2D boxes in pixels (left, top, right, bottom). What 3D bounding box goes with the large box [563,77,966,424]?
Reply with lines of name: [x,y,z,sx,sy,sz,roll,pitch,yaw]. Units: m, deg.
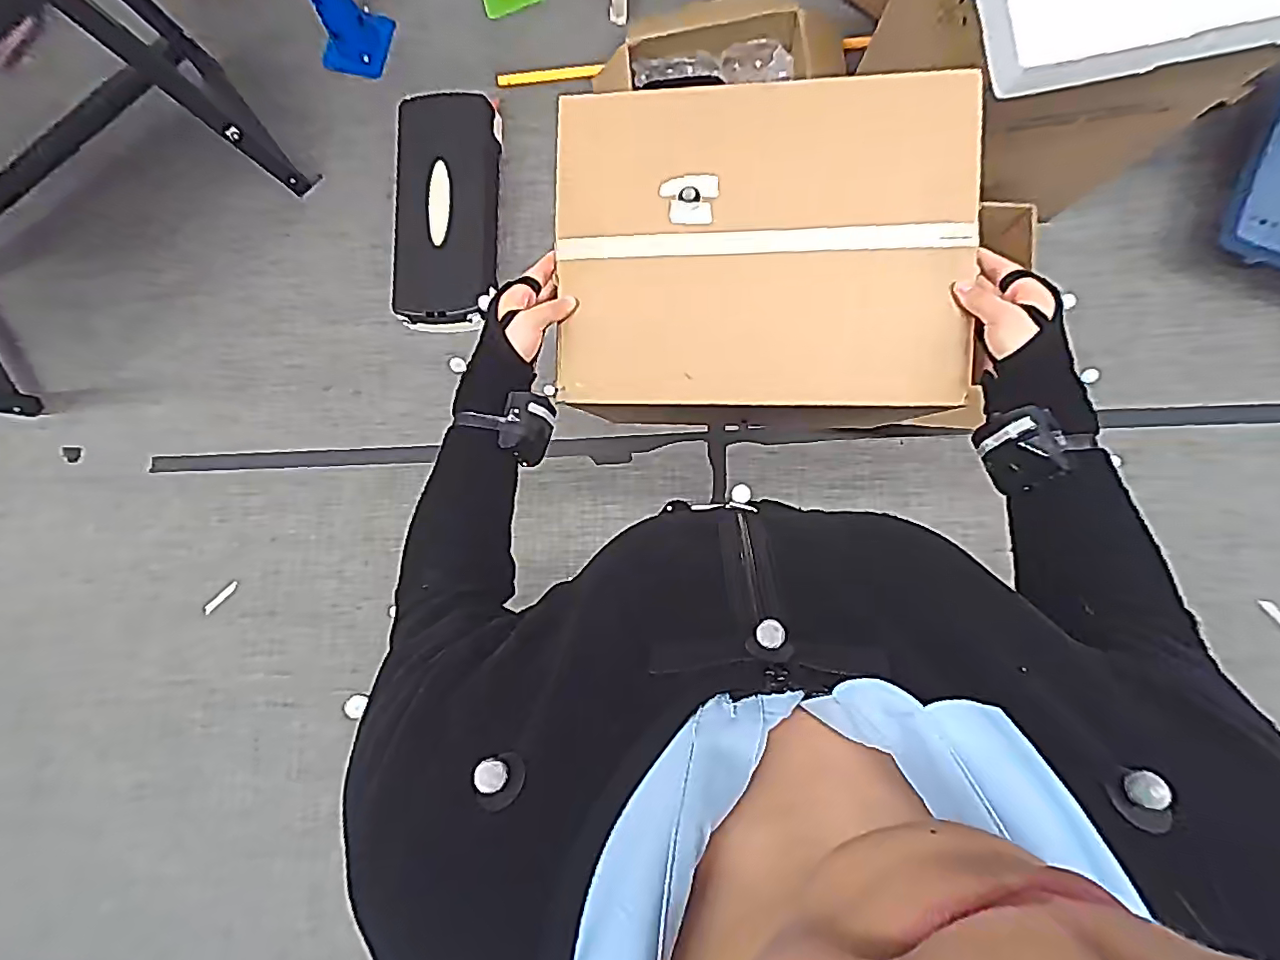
large box: [0.137,-0.237,0.693,0.408,0.320,0.320,1,91,8]
